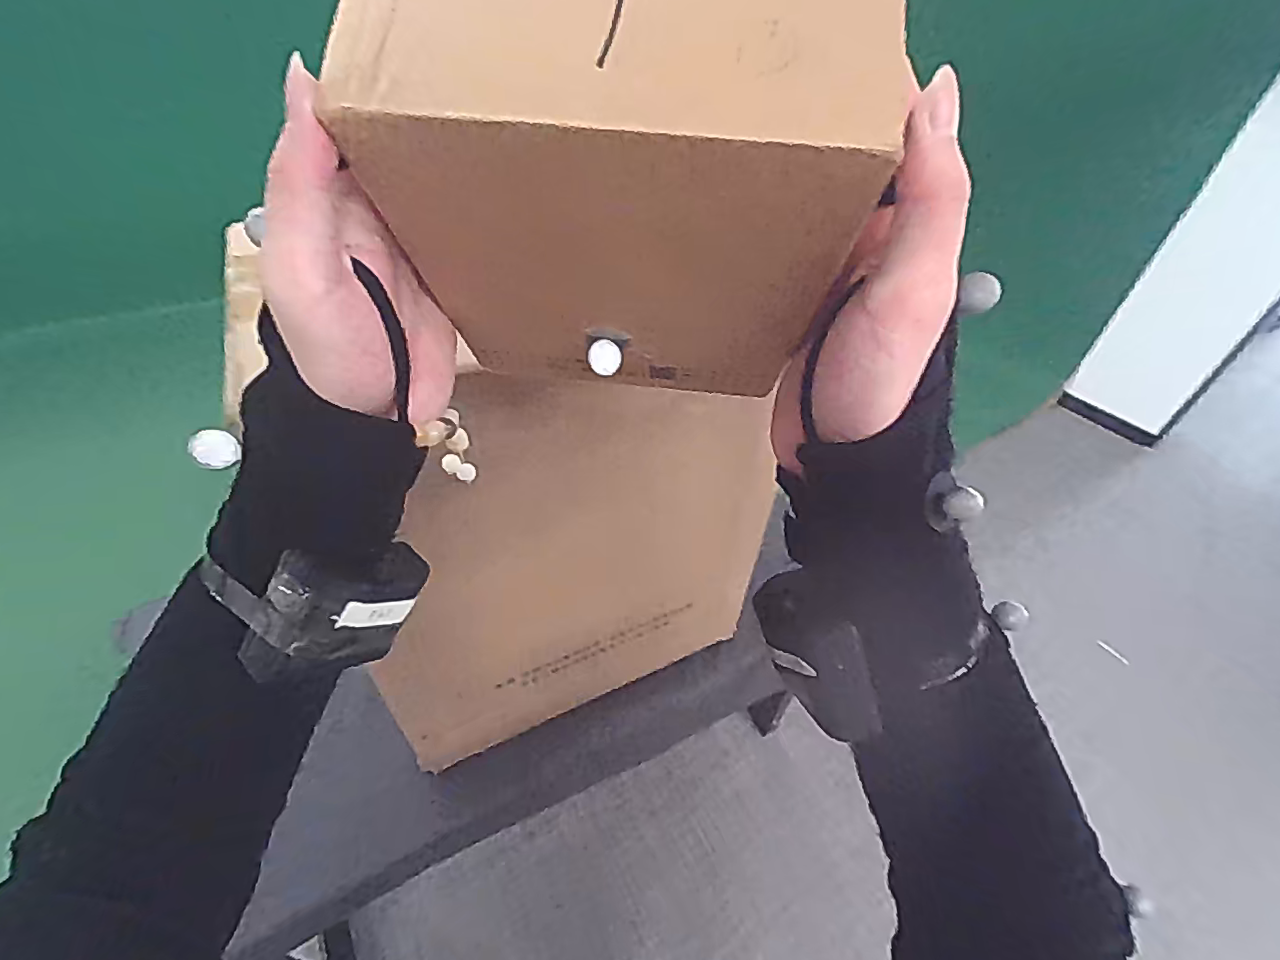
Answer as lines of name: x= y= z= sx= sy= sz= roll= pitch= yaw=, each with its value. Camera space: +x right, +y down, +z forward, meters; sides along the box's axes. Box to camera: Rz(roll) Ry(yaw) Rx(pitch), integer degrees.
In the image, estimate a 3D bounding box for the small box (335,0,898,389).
small box: x=0.002 y=-0.164 z=0.253 sx=0.168 sy=0.176 sz=0.179 roll=7 pitch=76 yaw=3
